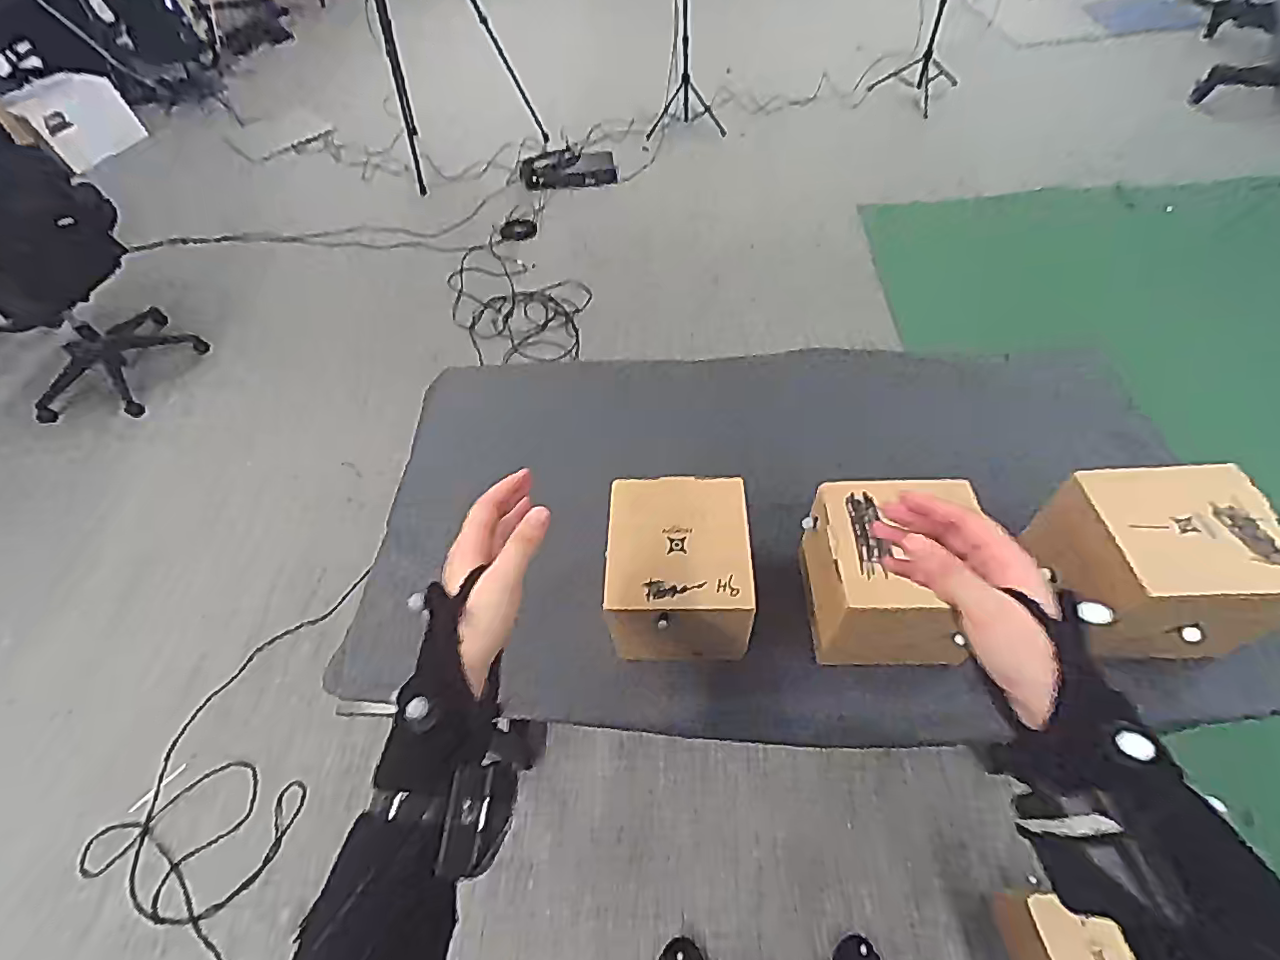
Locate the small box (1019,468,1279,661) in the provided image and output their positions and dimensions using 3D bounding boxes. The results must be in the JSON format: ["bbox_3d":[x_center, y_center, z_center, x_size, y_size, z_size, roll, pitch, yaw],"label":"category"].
[{"bbox_3d":[0.596,0.102,0.632,0.179,0.176,0.168,-2,51,7],"label":"small box"}]

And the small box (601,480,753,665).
[{"bbox_3d":[0.050,0.119,0.688,0.168,0.176,0.179,-1,53,7],"label":"small box"}]

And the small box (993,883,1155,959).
[{"bbox_3d":[0.793,0.856,0.983,0.168,0.176,0.179,-8,55,0],"label":"small box"}]
